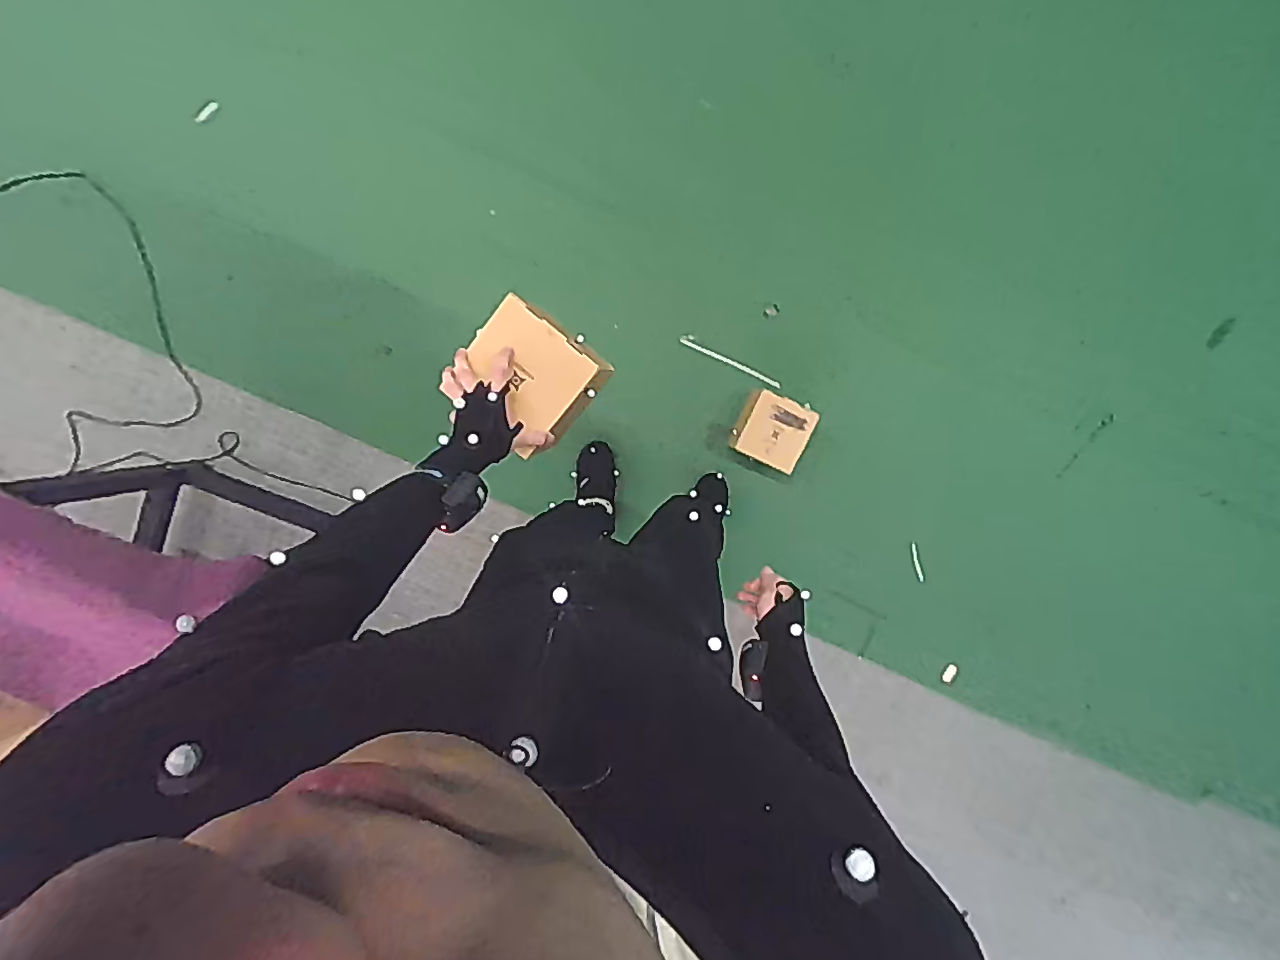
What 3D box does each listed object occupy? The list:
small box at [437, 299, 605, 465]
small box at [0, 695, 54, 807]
[{"bbox_3d":[-0.172,-0.148,0.844,0.168,0.176,0.179,39,99,-2],"label":"small box"},{"bbox_3d":[-1.140,0.465,0.877,0.179,0.176,0.168,25,98,-1],"label":"small box"}]
